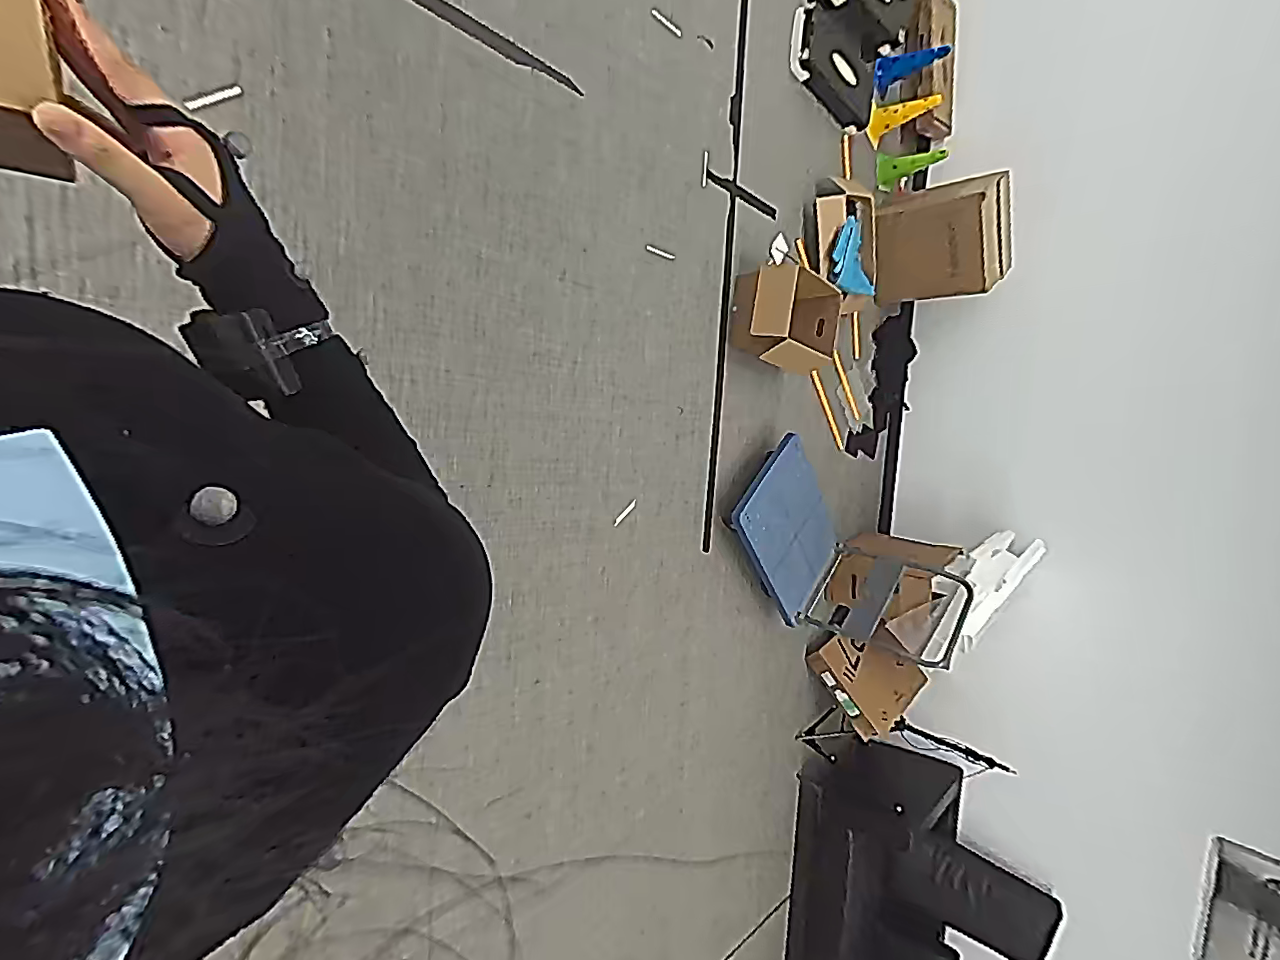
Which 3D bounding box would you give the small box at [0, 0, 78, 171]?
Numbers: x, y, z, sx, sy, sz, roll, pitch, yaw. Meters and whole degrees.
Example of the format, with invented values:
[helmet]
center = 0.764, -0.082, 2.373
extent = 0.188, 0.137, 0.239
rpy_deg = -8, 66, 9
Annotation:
[small box]
center = -0.395, -0.274, 0.256
extent = 0.168, 0.176, 0.179
rpy_deg = -7, 106, -44
